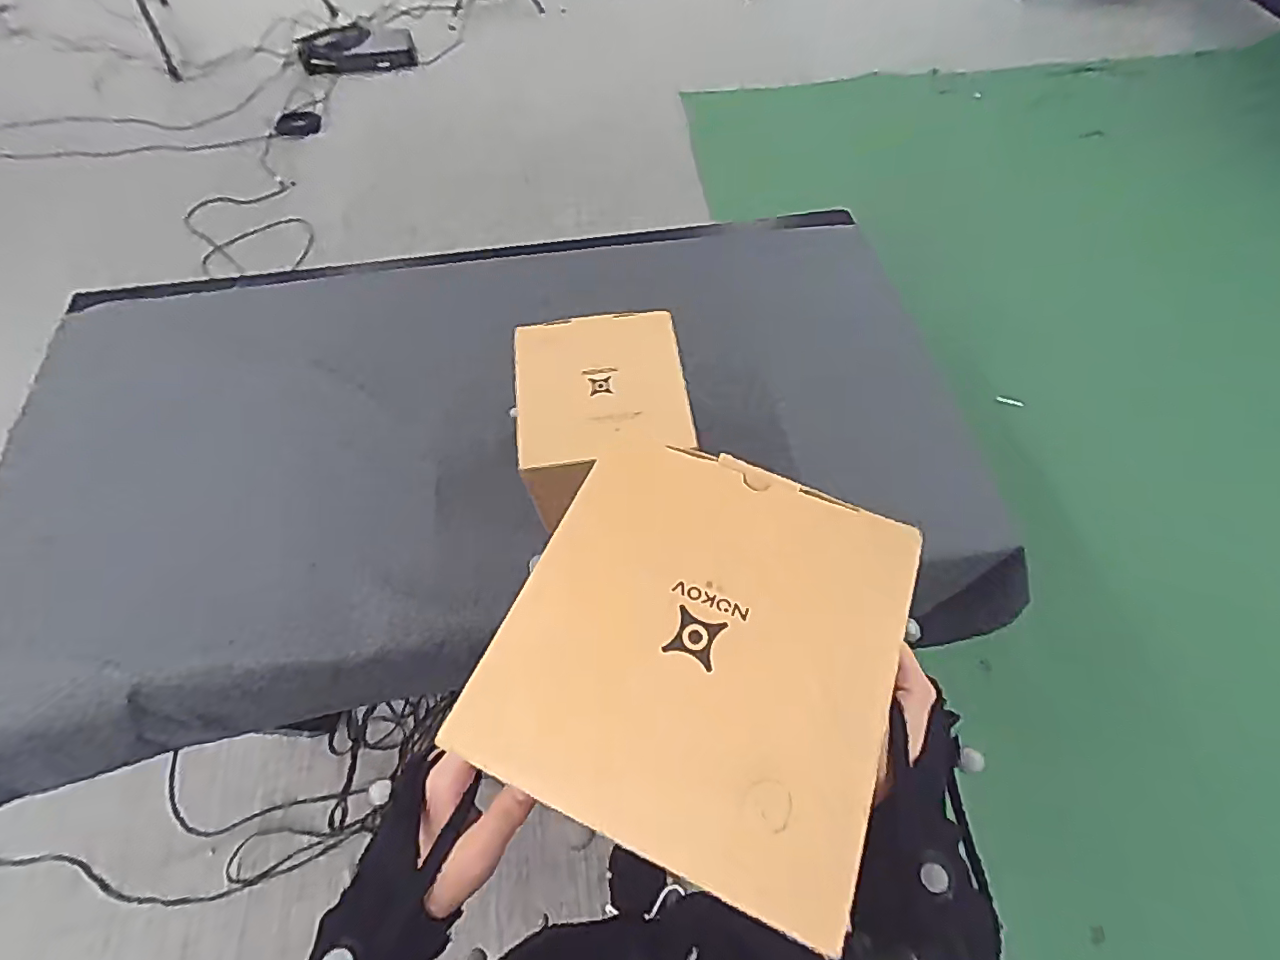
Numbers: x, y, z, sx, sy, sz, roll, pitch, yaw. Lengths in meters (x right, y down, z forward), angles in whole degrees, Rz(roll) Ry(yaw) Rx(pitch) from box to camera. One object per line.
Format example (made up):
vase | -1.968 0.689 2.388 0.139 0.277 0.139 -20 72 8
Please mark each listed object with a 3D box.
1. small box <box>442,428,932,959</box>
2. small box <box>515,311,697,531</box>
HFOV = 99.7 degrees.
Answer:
small box | 0.032 0.107 0.301 0.168 0.176 0.179 20 61 14
small box | -0.038 -0.056 0.596 0.168 0.176 0.179 -8 63 -2
